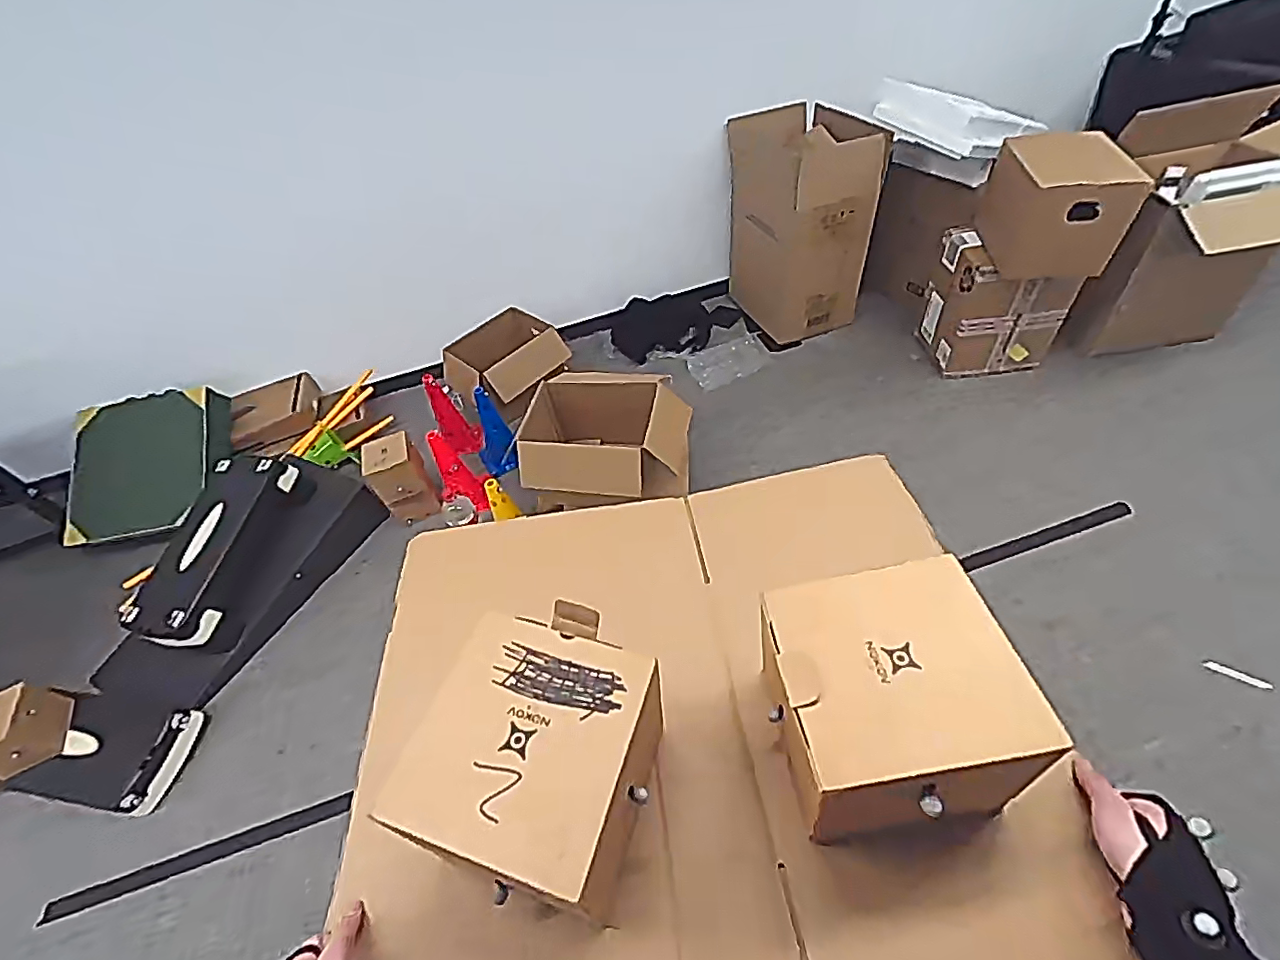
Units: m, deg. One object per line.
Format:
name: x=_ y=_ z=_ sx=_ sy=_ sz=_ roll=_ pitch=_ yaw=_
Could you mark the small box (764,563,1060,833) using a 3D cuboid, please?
small box: x=0.221 y=0.204 z=0.498 sx=0.179 sy=0.176 sz=0.168 roll=-13 pitch=46 yaw=4
